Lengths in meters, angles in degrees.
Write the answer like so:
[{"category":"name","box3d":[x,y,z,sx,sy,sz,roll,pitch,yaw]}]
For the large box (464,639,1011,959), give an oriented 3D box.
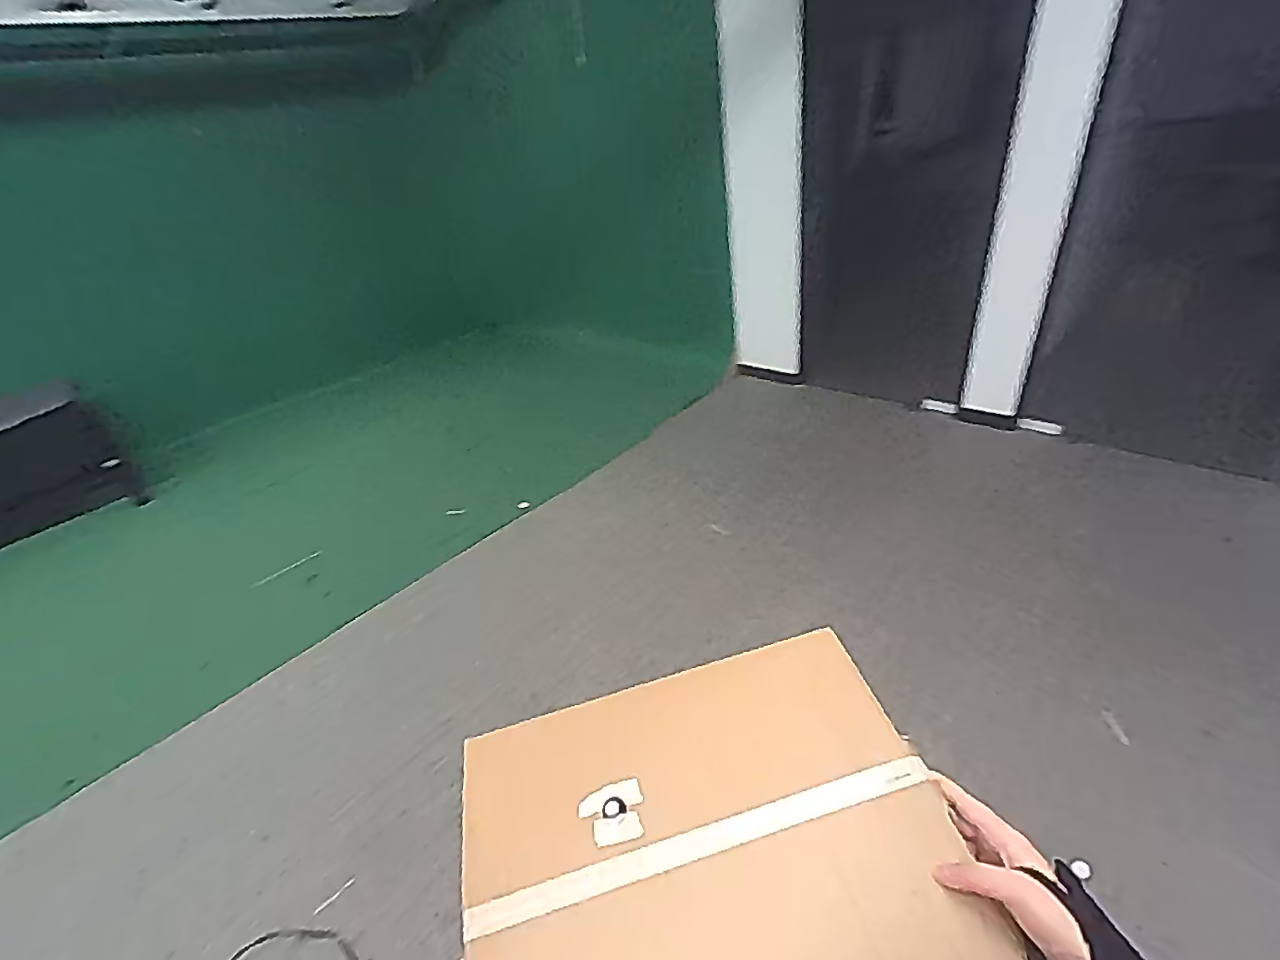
[{"category":"large box","box3d":[0.072,0.432,0.562,0.408,0.320,0.320,-17,41,-4]}]
